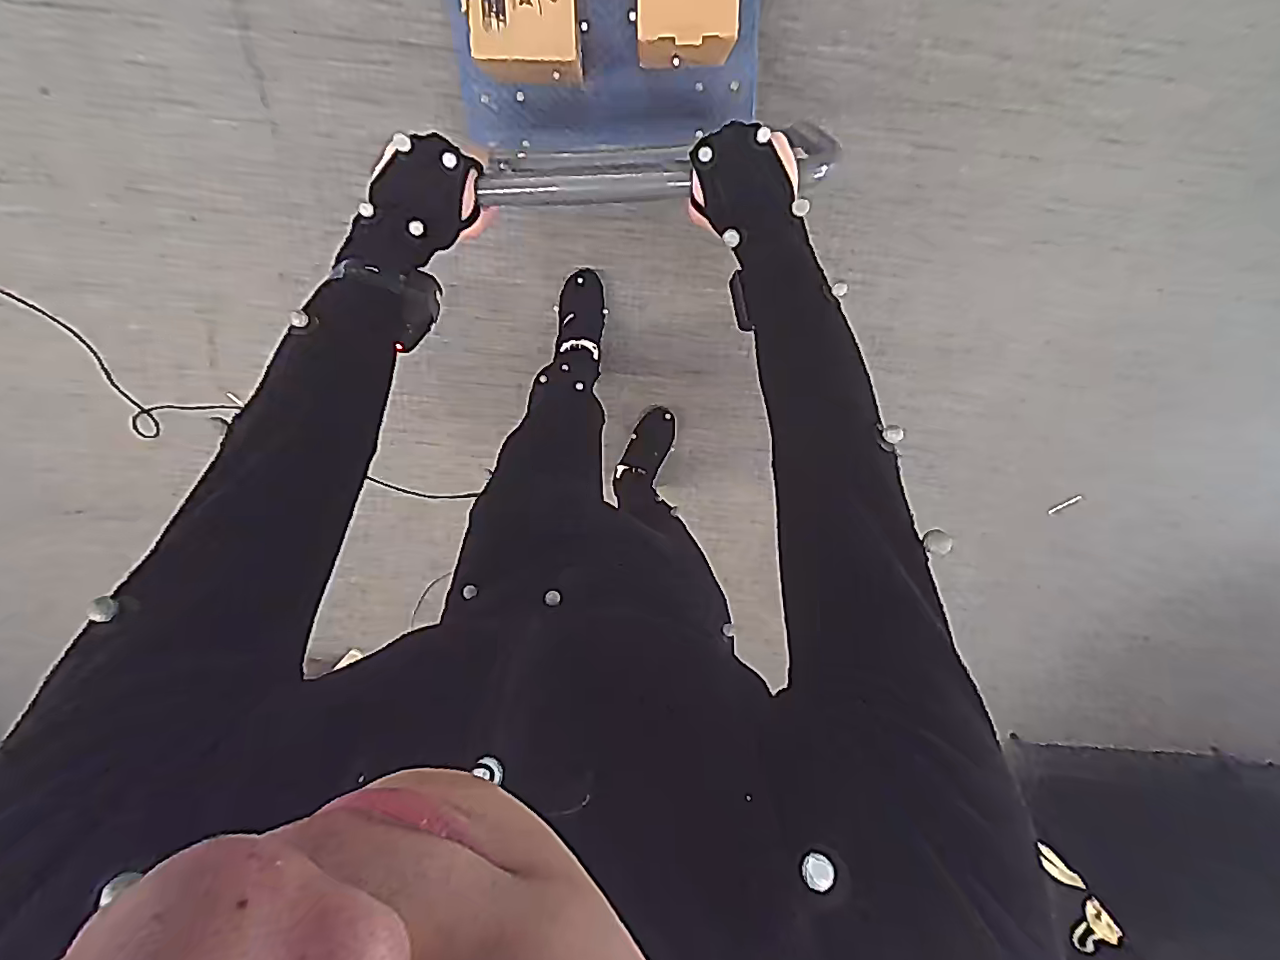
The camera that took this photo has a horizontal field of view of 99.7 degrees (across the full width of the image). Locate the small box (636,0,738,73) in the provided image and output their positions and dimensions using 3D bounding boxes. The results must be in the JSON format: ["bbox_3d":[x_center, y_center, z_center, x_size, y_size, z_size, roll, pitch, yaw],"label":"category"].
[{"bbox_3d":[0.077,-0.845,0.949,0.168,0.176,0.179,-2,116,0],"label":"small box"}]
